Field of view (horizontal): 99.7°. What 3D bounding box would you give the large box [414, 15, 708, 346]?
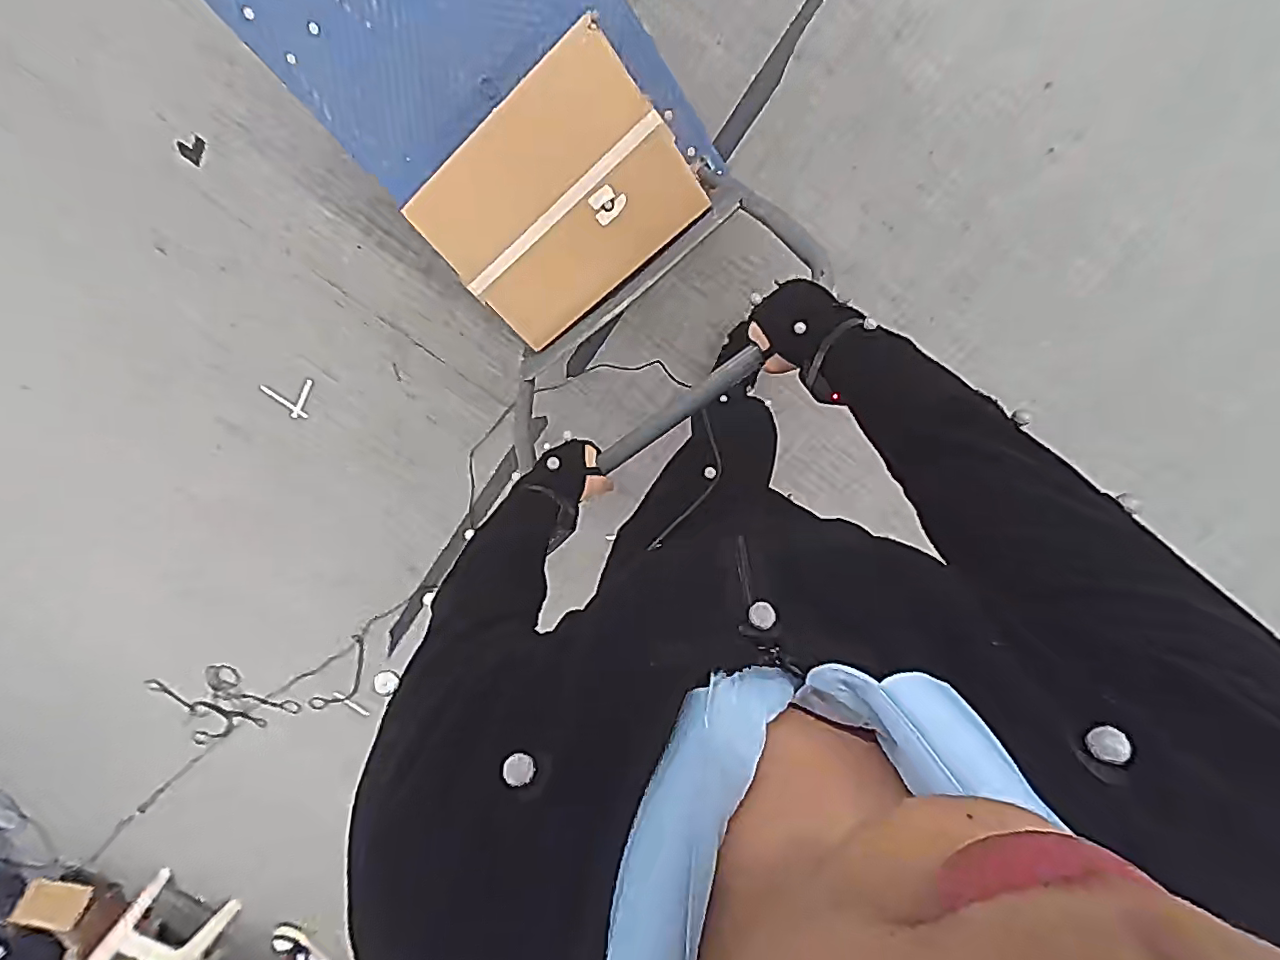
[{"bbox_3d":[-0.142,-0.536,1.021,0.408,0.320,0.320,-36,120,16],"label":"large box"}]
